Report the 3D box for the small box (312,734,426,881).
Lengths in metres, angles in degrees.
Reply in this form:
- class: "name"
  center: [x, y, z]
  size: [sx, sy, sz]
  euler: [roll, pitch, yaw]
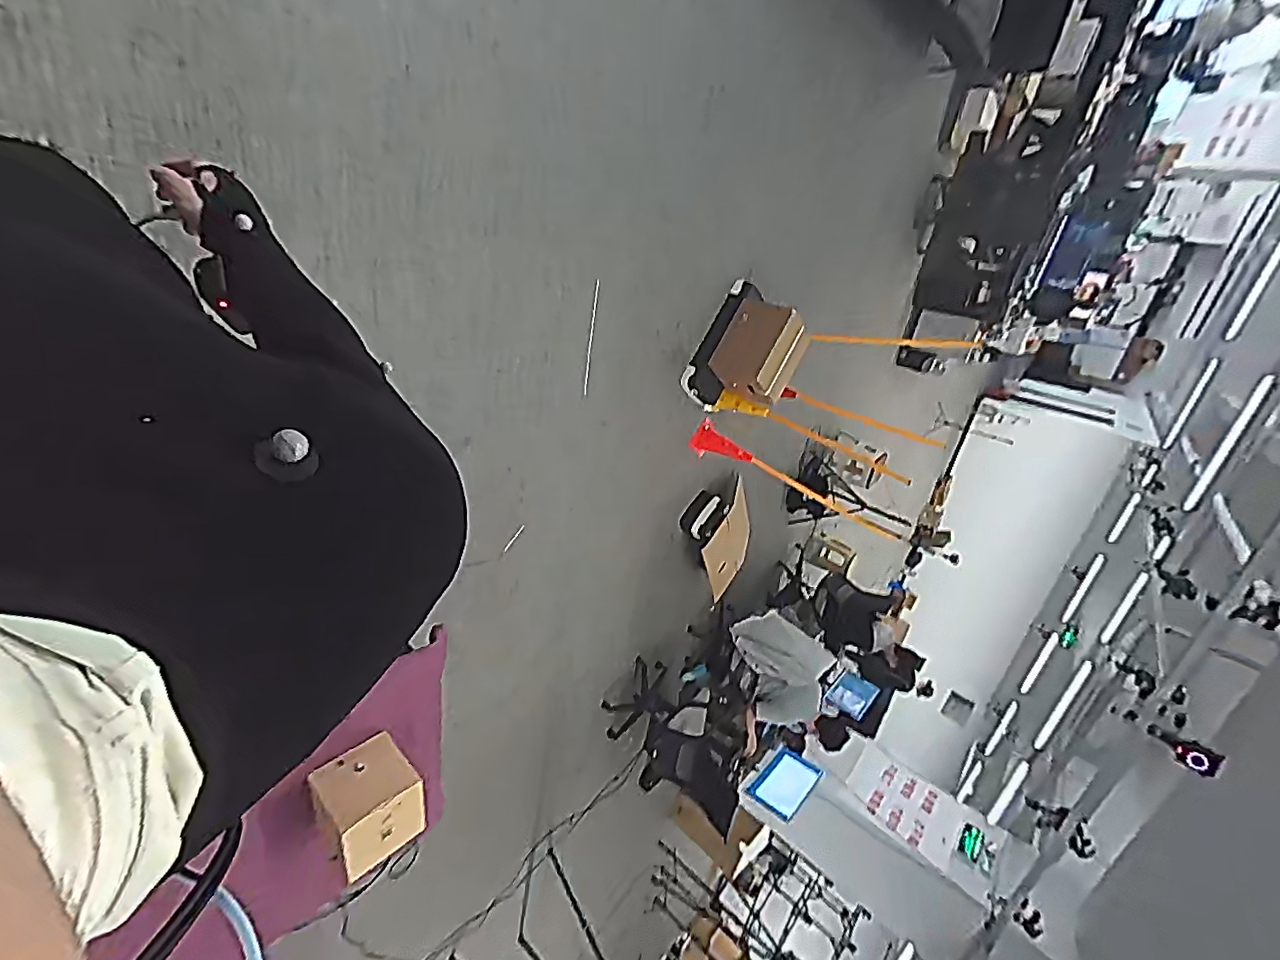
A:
- class: "small box"
  center: [-0.583, 0.697, 1.170]
  size: [0.168, 0.176, 0.179]
  euler: [-21, 128, -45]
